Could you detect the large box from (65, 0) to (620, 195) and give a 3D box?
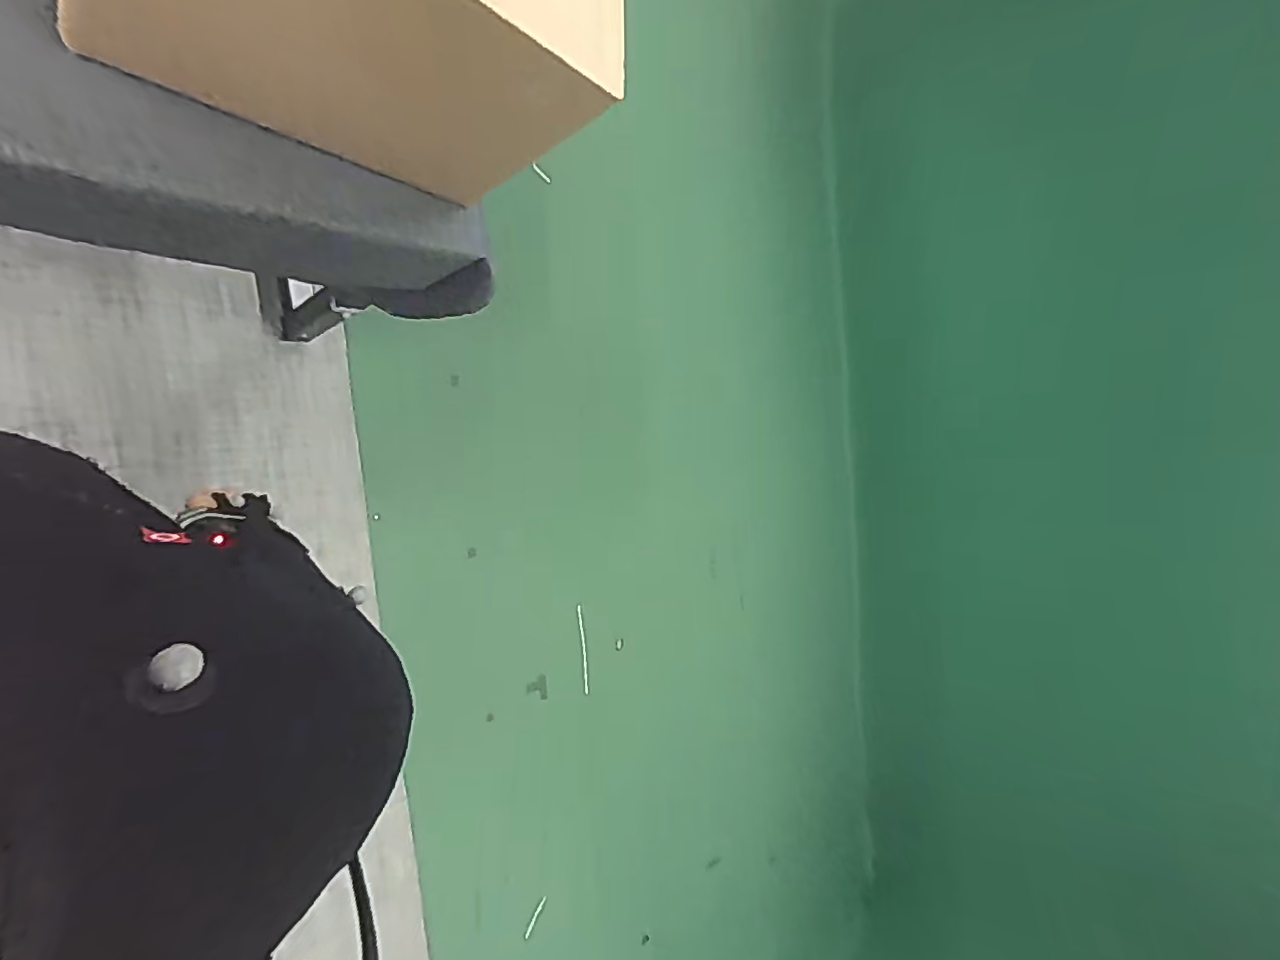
[{"bbox_3d":[-0.270,-0.549,0.524,0.408,0.320,0.320,-2,91,-49],"label":"large box"}]
